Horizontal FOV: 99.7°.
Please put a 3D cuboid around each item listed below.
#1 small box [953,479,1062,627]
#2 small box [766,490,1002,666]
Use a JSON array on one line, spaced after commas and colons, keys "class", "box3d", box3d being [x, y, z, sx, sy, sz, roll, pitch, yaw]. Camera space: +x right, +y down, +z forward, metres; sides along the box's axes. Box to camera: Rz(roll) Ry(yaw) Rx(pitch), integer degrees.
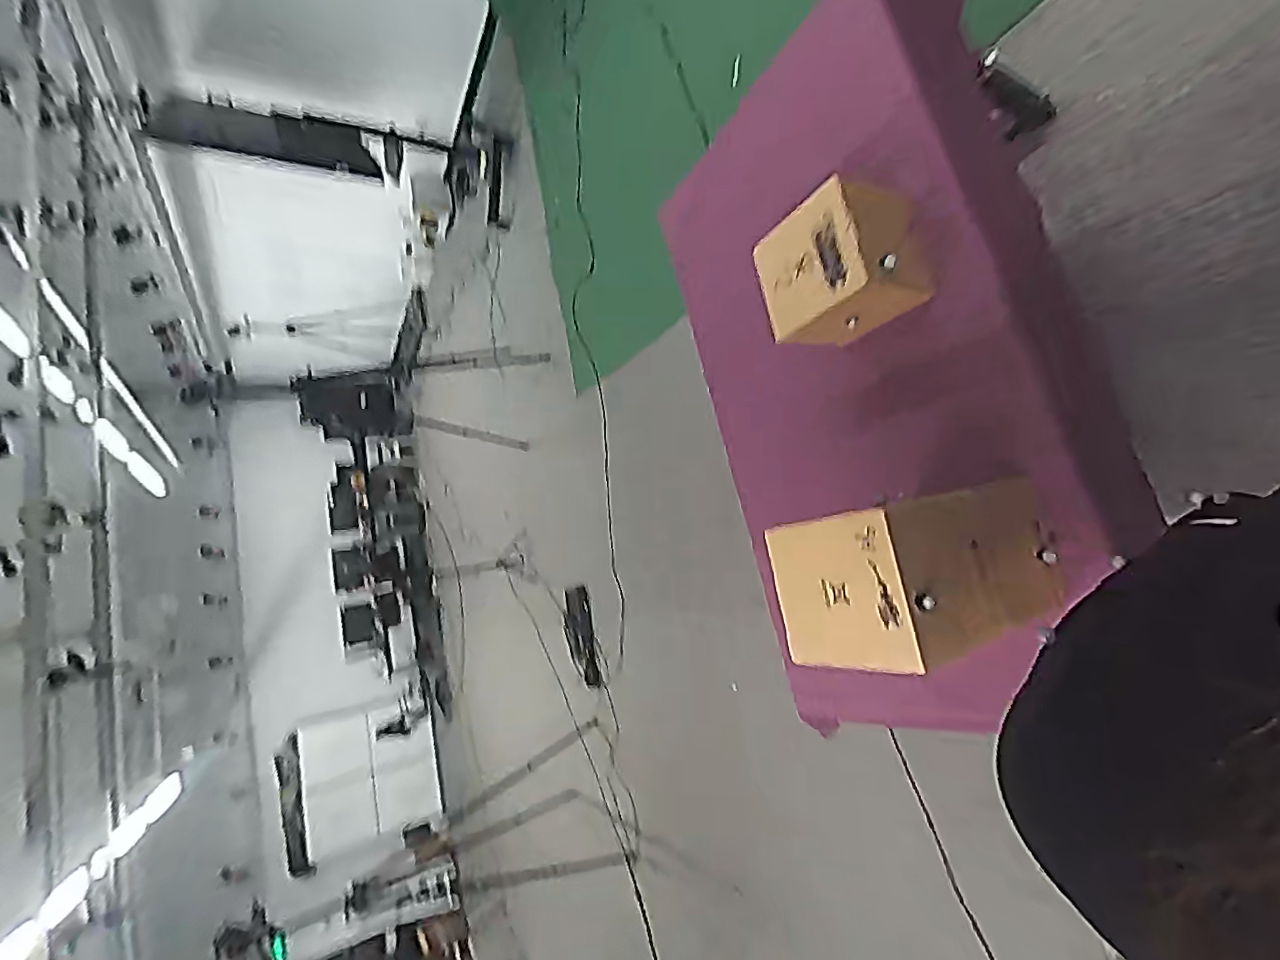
[{"class": "small box", "box3d": [0.426, 0.099, 0.740, 0.179, 0.176, 0.168, -23, 76, 56]}, {"class": "small box", "box3d": [0.287, 0.114, 0.652, 0.179, 0.176, 0.168, -24, 76, 58]}]
